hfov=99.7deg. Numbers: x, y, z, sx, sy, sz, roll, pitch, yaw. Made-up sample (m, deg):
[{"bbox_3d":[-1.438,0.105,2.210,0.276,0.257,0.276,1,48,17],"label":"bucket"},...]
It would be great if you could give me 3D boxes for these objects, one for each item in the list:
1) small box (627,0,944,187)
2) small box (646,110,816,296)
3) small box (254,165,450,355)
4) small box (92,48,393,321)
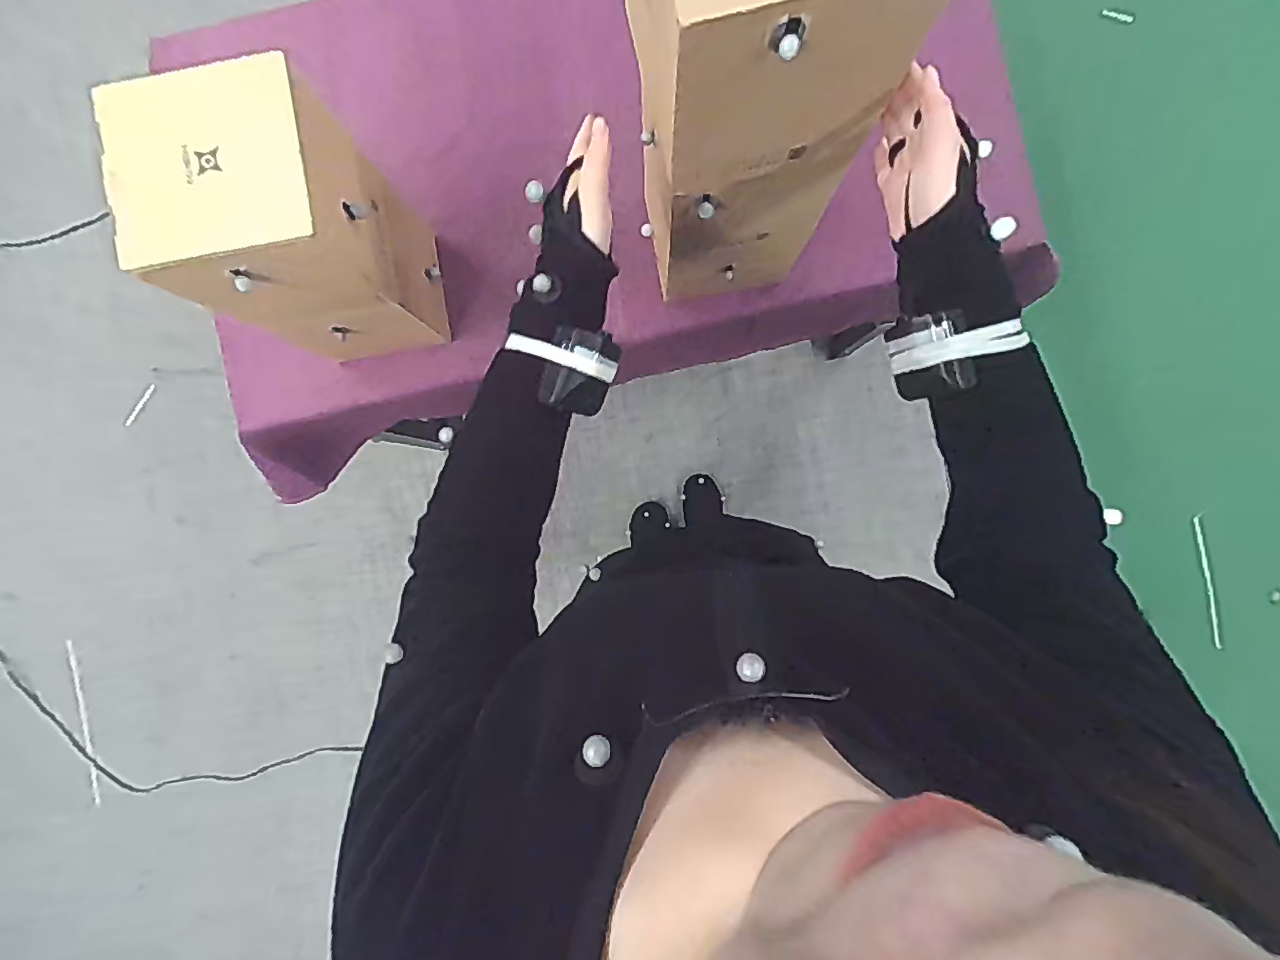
[{"bbox_3d":[0.082,-0.343,0.369,0.168,0.176,0.179,-13,88,2],"label":"small box"},{"bbox_3d":[0.105,-0.357,0.698,0.179,0.176,0.168,-10,89,2],"label":"small box"},{"bbox_3d":[-0.374,-0.272,0.708,0.179,0.176,0.168,-10,90,1],"label":"small box"},{"bbox_3d":[-0.373,-0.276,0.545,0.179,0.176,0.168,-10,89,2],"label":"small box"}]
